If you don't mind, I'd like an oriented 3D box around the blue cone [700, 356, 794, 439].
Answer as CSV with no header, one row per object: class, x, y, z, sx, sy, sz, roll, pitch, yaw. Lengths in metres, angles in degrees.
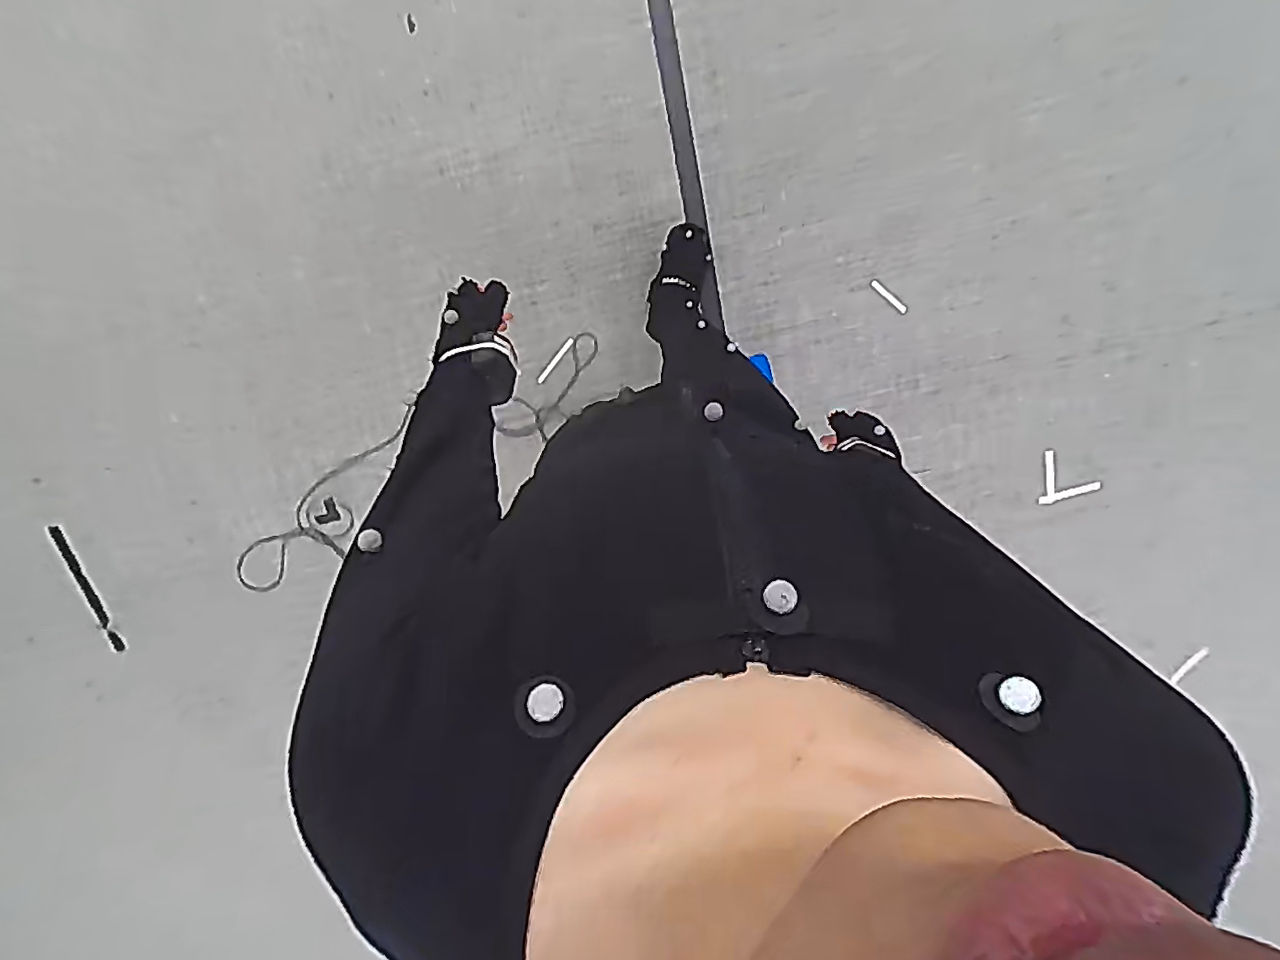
blue cone,0.270,-0.165,1.262,0.192,0.380,0.193,-17,107,1
